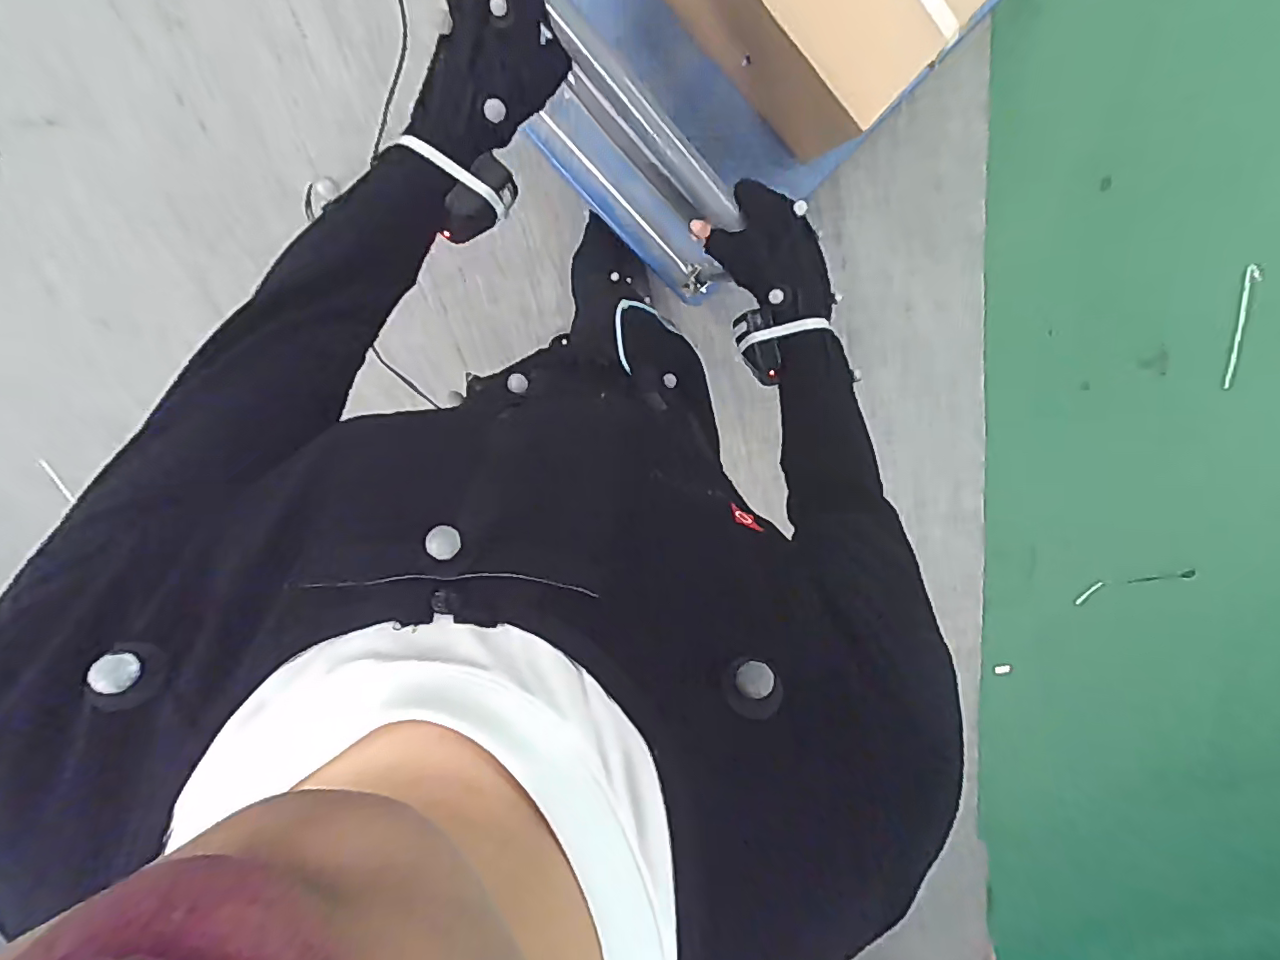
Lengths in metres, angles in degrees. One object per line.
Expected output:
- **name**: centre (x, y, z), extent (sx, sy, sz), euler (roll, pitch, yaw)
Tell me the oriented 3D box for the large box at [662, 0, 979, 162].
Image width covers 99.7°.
- **large box**: centre (0.282, -0.802, 0.858), extent (0.408, 0.320, 0.320), euler (40, 105, -16)
